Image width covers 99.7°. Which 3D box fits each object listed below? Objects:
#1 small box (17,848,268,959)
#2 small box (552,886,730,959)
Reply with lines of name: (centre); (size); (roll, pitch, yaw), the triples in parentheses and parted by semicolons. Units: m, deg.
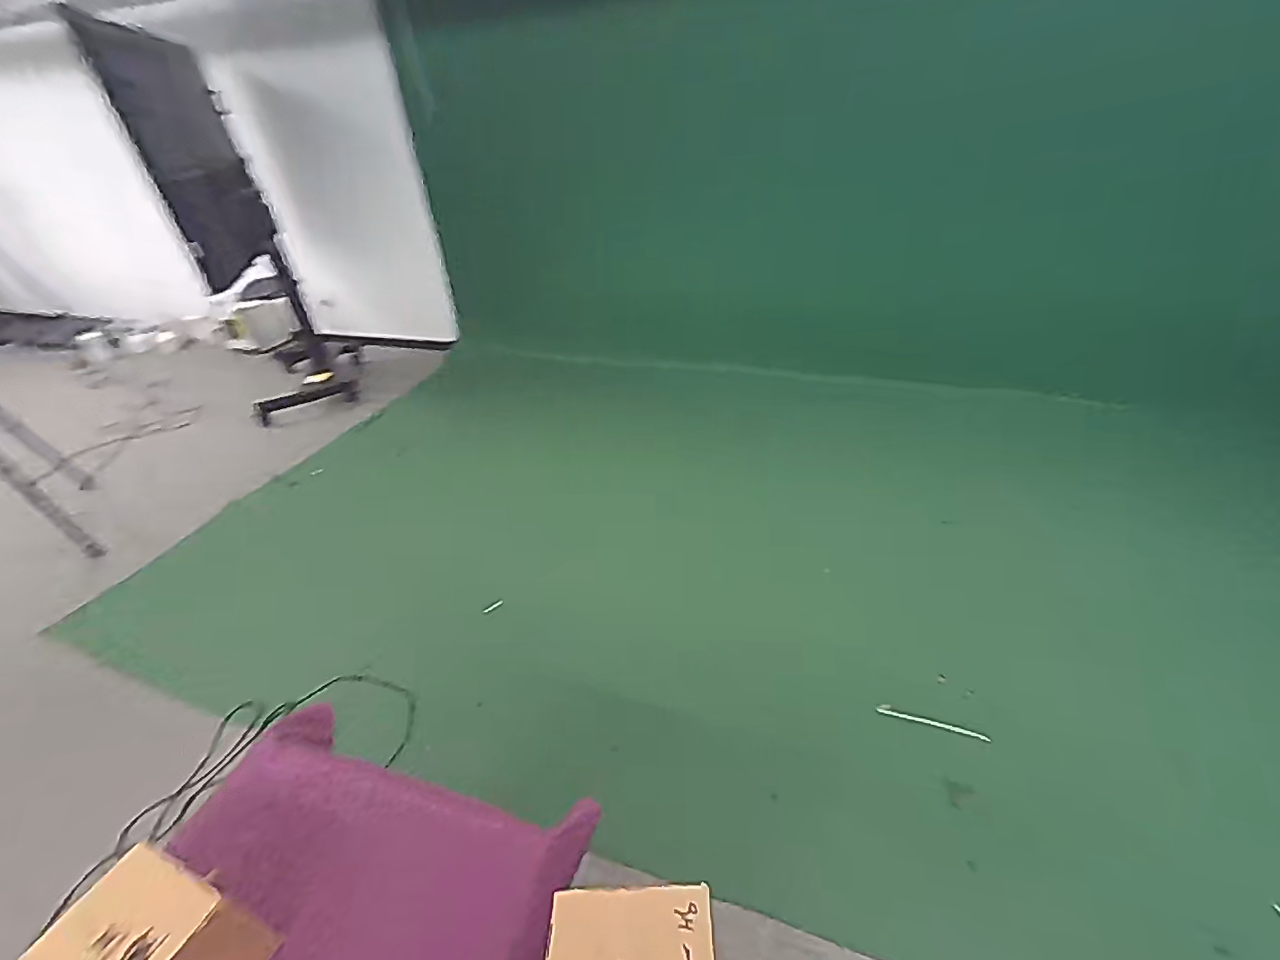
small box: (-0.615, 0.608, 0.668); (0.179, 0.176, 0.168); (11, 38, 21)
small box: (0.006, 0.557, 0.563); (0.179, 0.176, 0.168); (-6, 30, 7)
